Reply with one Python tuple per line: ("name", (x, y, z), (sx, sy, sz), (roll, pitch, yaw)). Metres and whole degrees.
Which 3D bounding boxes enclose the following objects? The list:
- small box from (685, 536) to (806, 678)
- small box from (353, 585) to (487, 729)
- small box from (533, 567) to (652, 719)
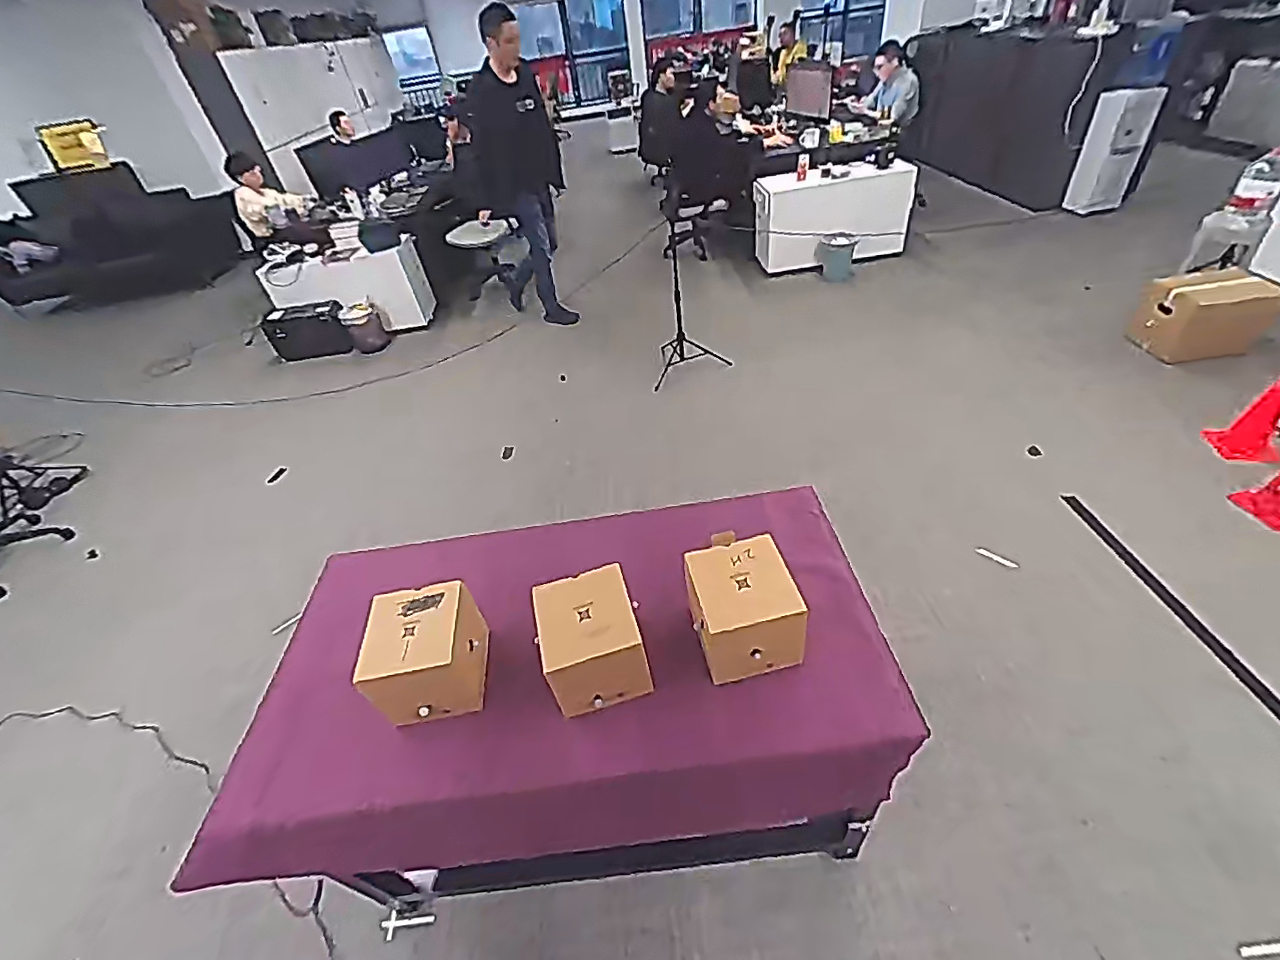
("small box", (0.186, 0.234, 0.975), (0.168, 0.176, 0.179), (-13, 40, -3))
("small box", (-0.388, 0.324, 0.993), (0.168, 0.176, 0.179), (-11, 42, -1))
("small box", (-0.085, 0.291, 0.969), (0.168, 0.176, 0.179), (-16, 41, -6))
